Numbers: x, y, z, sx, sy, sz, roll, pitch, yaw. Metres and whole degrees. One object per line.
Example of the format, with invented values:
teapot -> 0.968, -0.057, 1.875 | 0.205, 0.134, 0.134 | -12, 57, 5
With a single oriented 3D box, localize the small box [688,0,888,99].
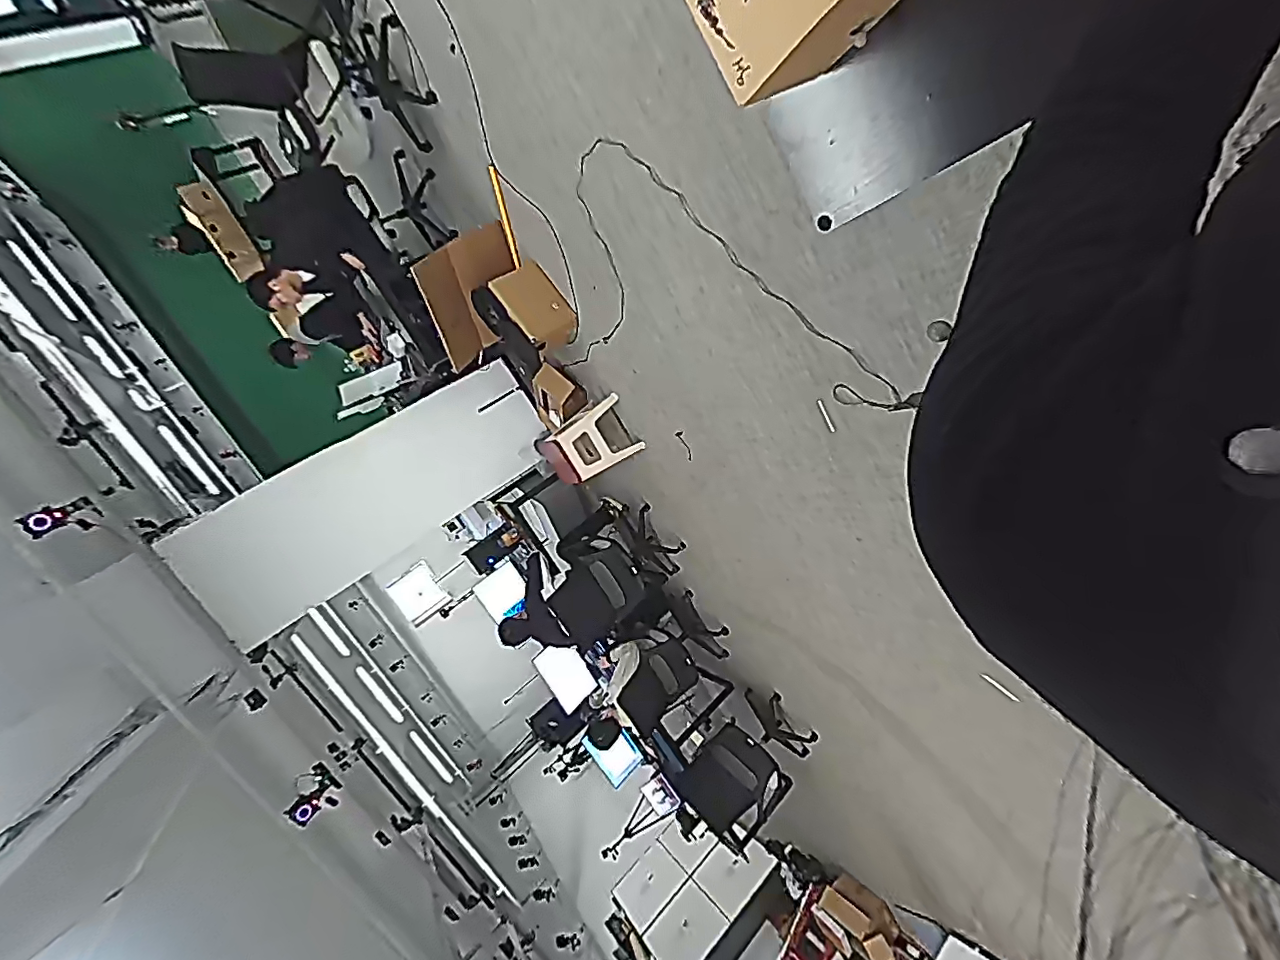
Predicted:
small box -> 0.172, -0.568, 0.584 | 0.168, 0.176, 0.179 | 59, 154, -12
